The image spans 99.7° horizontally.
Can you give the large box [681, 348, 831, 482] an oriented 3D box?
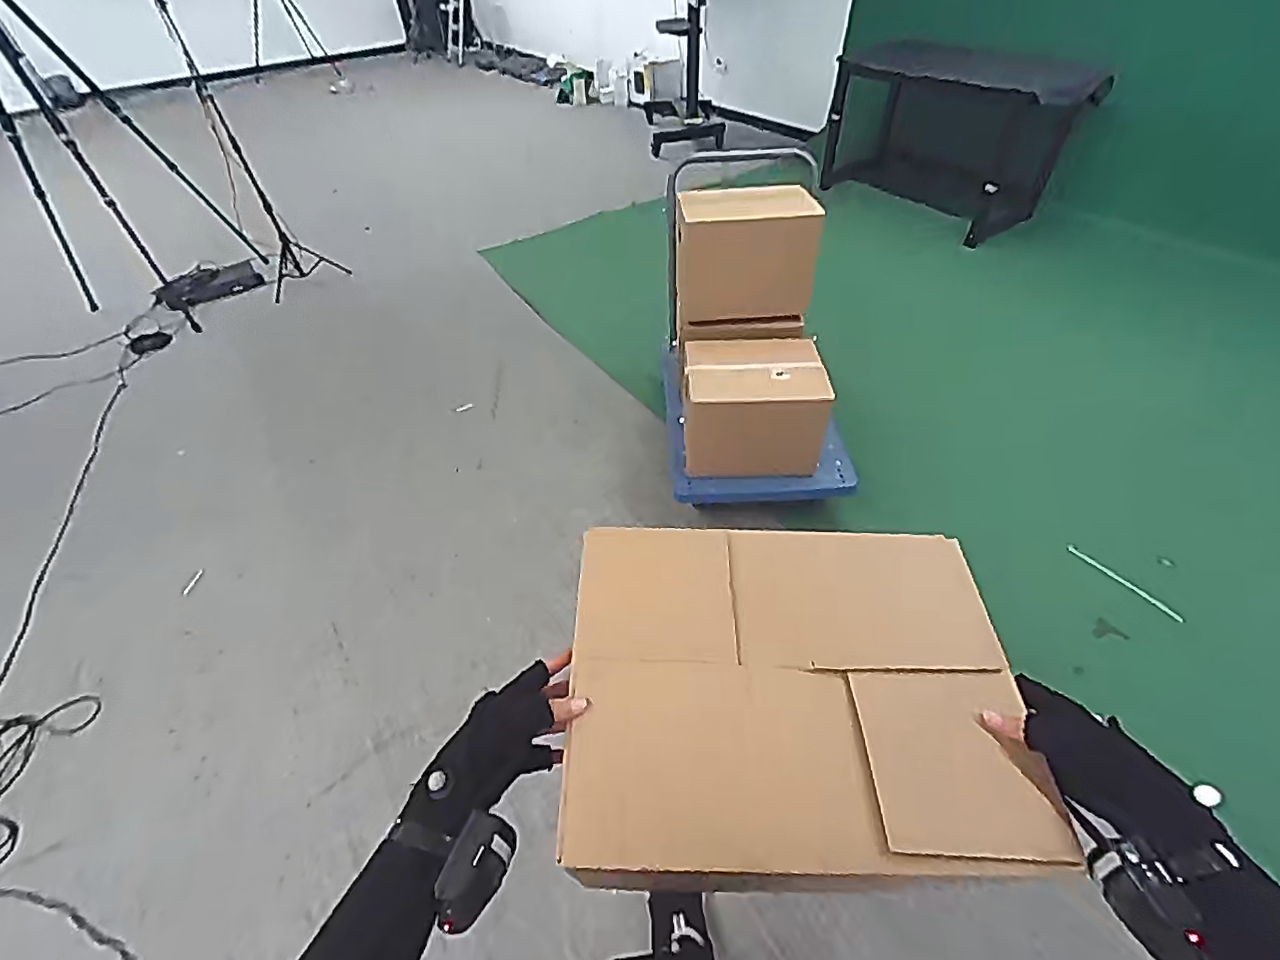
[{"bbox_3d":[0.341,-0.205,1.717,0.408,0.320,0.320,0,45,2],"label":"large box"}]
